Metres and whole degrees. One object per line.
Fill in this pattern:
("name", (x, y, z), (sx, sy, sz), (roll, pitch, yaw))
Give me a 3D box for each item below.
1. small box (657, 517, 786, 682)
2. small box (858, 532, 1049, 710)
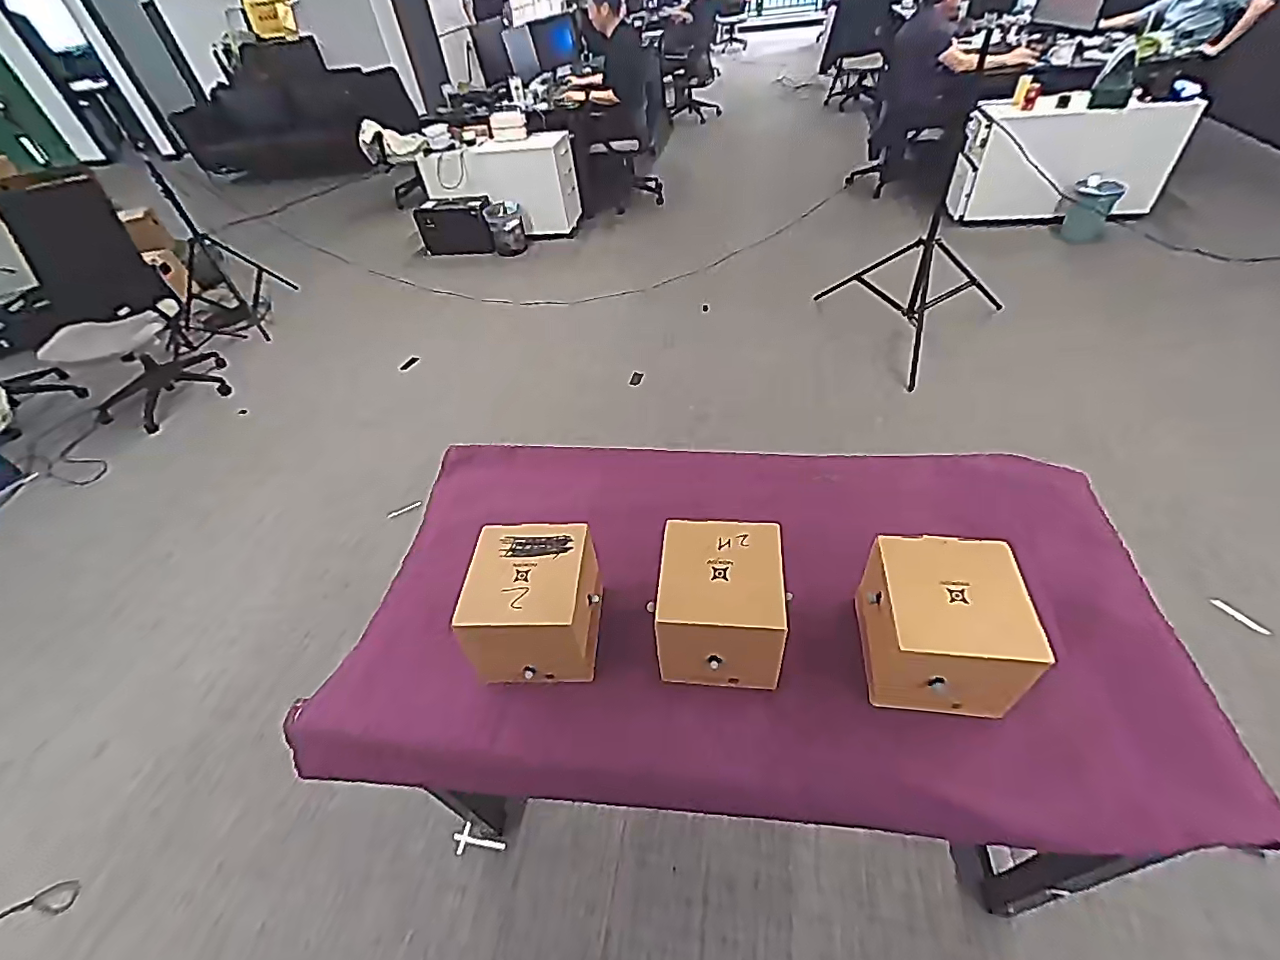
("small box", (0.120, 0.175, 0.792), (0.168, 0.176, 0.179), (2, 44, 8))
("small box", (0.405, 0.193, 0.736), (0.168, 0.176, 0.179), (2, 46, 10))
